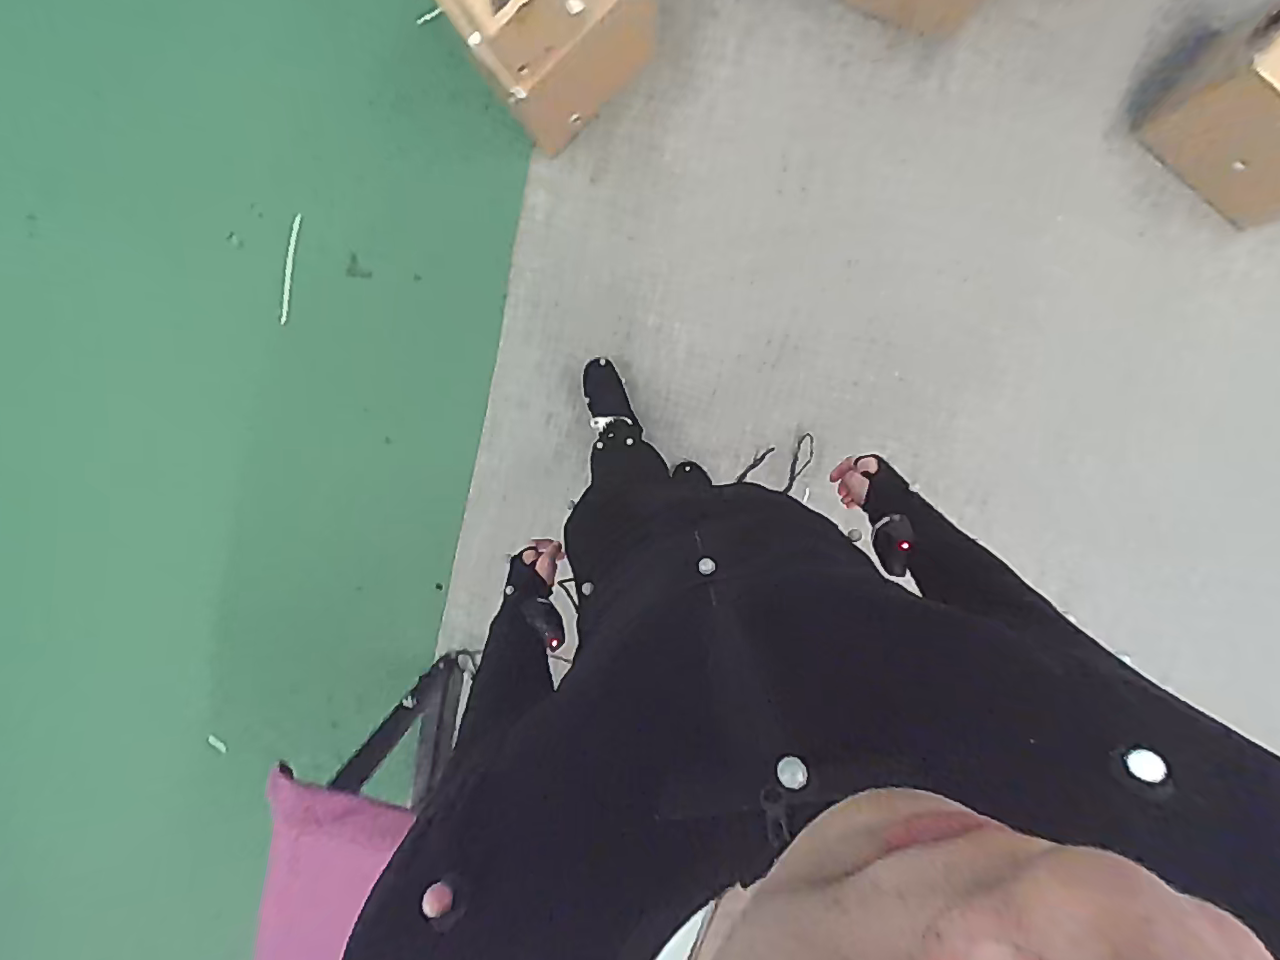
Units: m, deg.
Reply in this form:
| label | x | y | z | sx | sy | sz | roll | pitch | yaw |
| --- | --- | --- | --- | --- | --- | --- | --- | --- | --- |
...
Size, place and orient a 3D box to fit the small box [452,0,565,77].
| label | x | y | z | sx | sy | sz | roll | pitch | yaw |
| --- | --- | --- | --- | --- | --- | --- | --- | --- | --- |
| small box | -0.273 | -0.966 | 1.090 | 0.168 | 0.176 | 0.179 | -37 | 95 | 7 |

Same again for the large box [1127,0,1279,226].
| label | x | y | z | sx | sy | sz | roll | pitch | yaw |
| --- | --- | --- | --- | --- | --- | --- | --- | --- | --- |
| large box | 1.507 | -0.877 | 1.251 | 0.408 | 0.320 | 0.320 | 37 | 98 | -1 |
